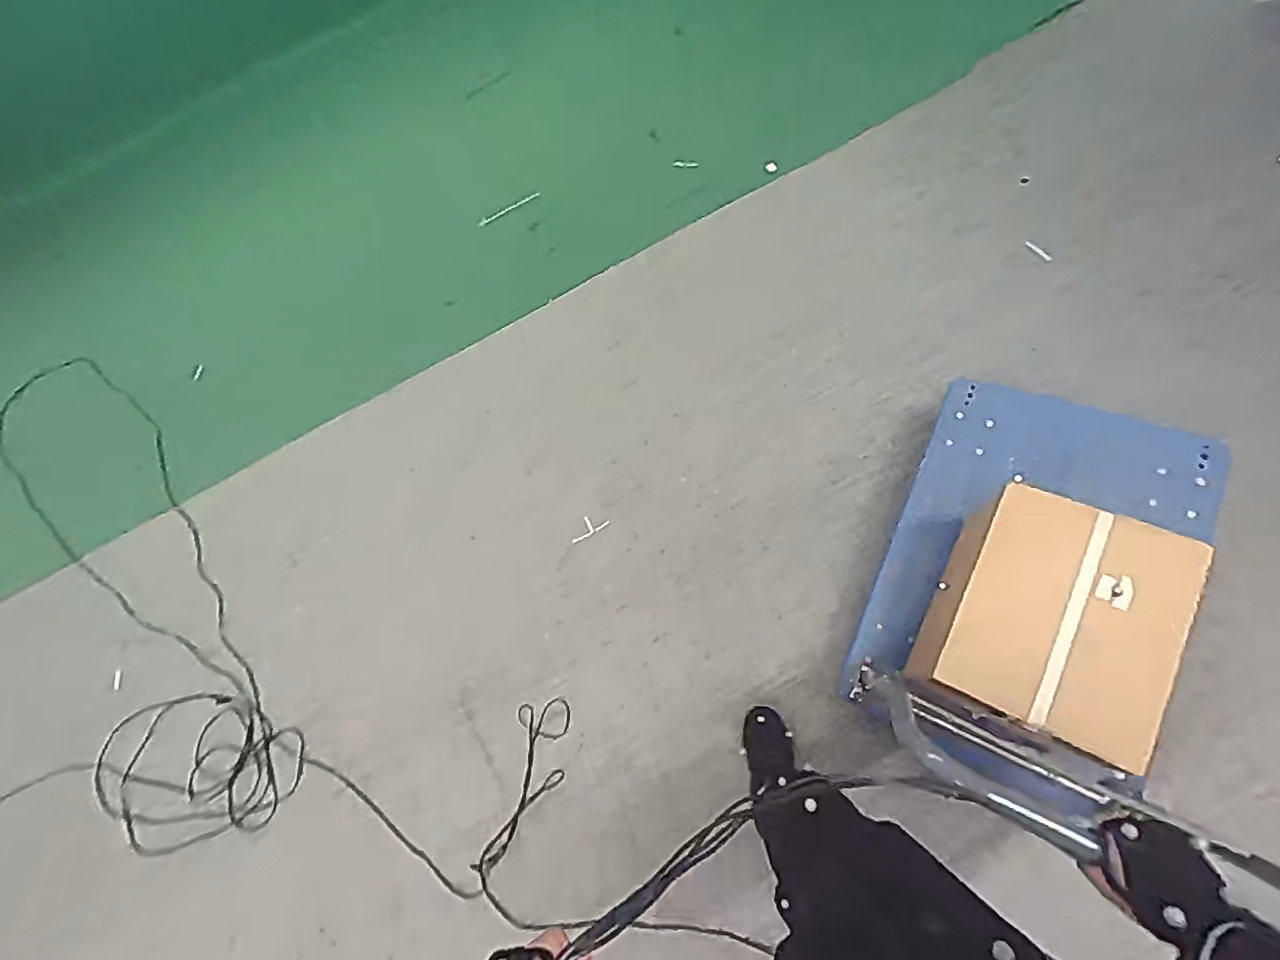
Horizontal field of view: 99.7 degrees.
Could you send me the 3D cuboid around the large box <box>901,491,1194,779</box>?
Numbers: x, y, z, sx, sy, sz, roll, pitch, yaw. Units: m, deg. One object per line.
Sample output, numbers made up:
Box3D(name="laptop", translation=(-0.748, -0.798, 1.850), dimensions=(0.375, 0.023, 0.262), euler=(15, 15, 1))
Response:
Box3D(name="large box", translation=(0.766, 0.298, 1.075), dimensions=(0.320, 0.320, 0.408), euler=(25, 78, 22))
